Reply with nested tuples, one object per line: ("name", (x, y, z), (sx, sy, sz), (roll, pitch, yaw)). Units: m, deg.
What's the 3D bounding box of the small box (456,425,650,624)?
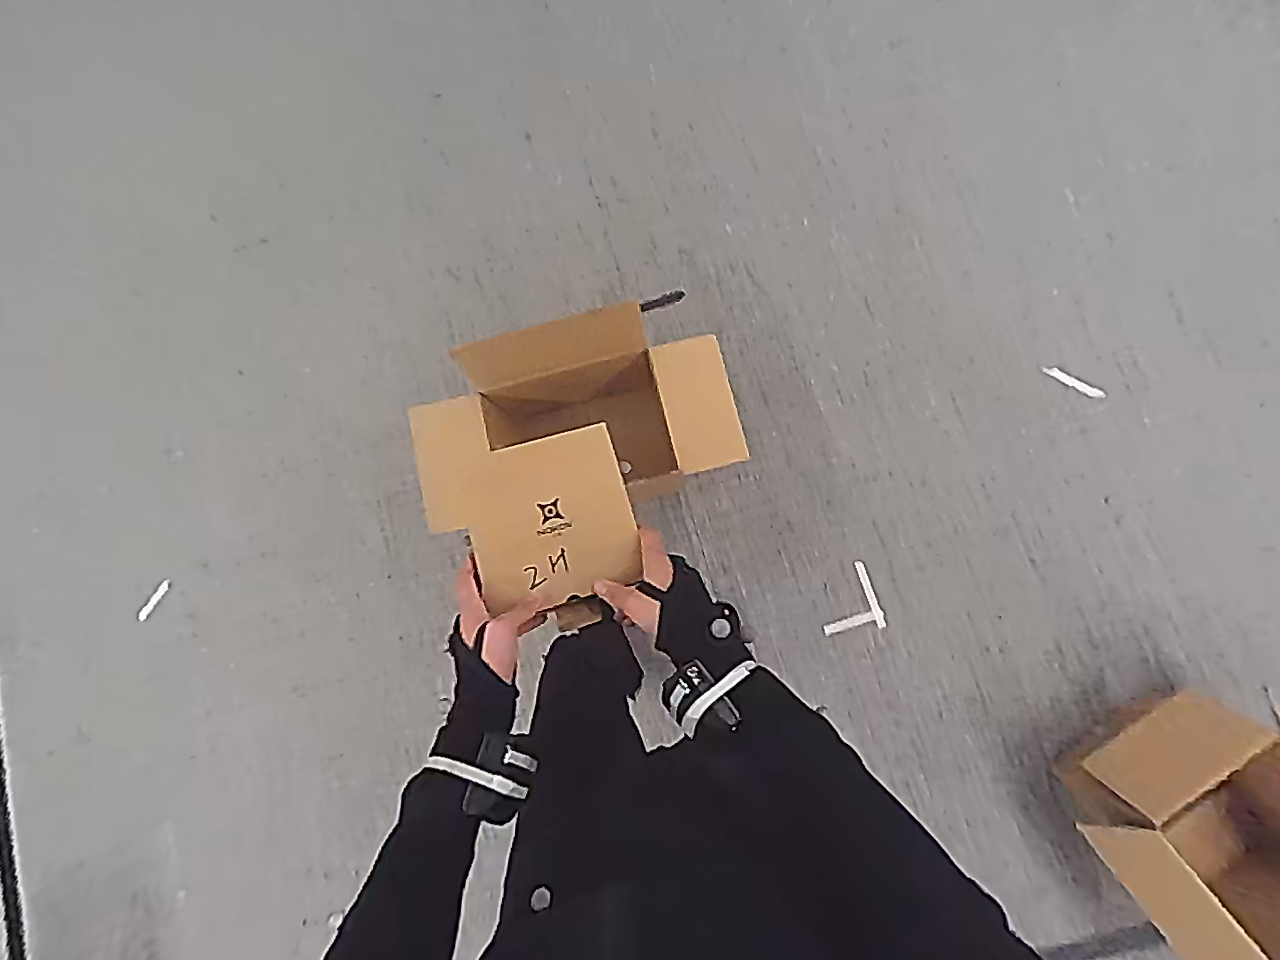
("small box", (-0.098, 0.059, 0.628), (0.168, 0.176, 0.179), (-15, 79, -8))
